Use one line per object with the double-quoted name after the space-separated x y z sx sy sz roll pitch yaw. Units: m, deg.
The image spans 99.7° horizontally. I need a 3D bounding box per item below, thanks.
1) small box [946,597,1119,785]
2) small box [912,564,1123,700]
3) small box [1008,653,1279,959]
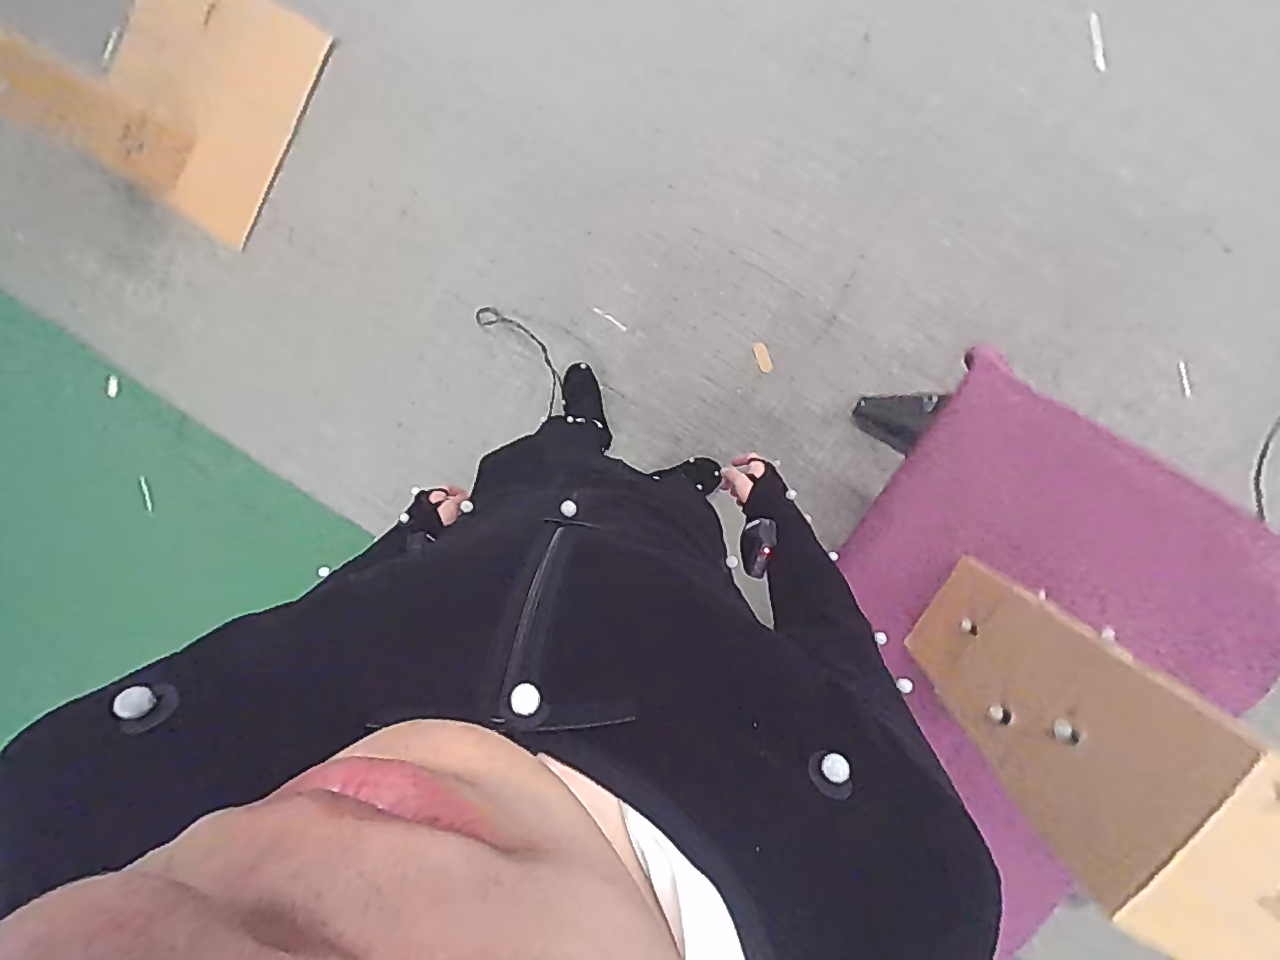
0.496 0.270 0.633 0.168 0.176 0.179 32 101 2 "small box"
0.533 0.253 0.794 0.168 0.176 0.179 31 100 3 "small box"
0.470 0.292 0.473 0.168 0.176 0.179 32 102 2 "small box"
